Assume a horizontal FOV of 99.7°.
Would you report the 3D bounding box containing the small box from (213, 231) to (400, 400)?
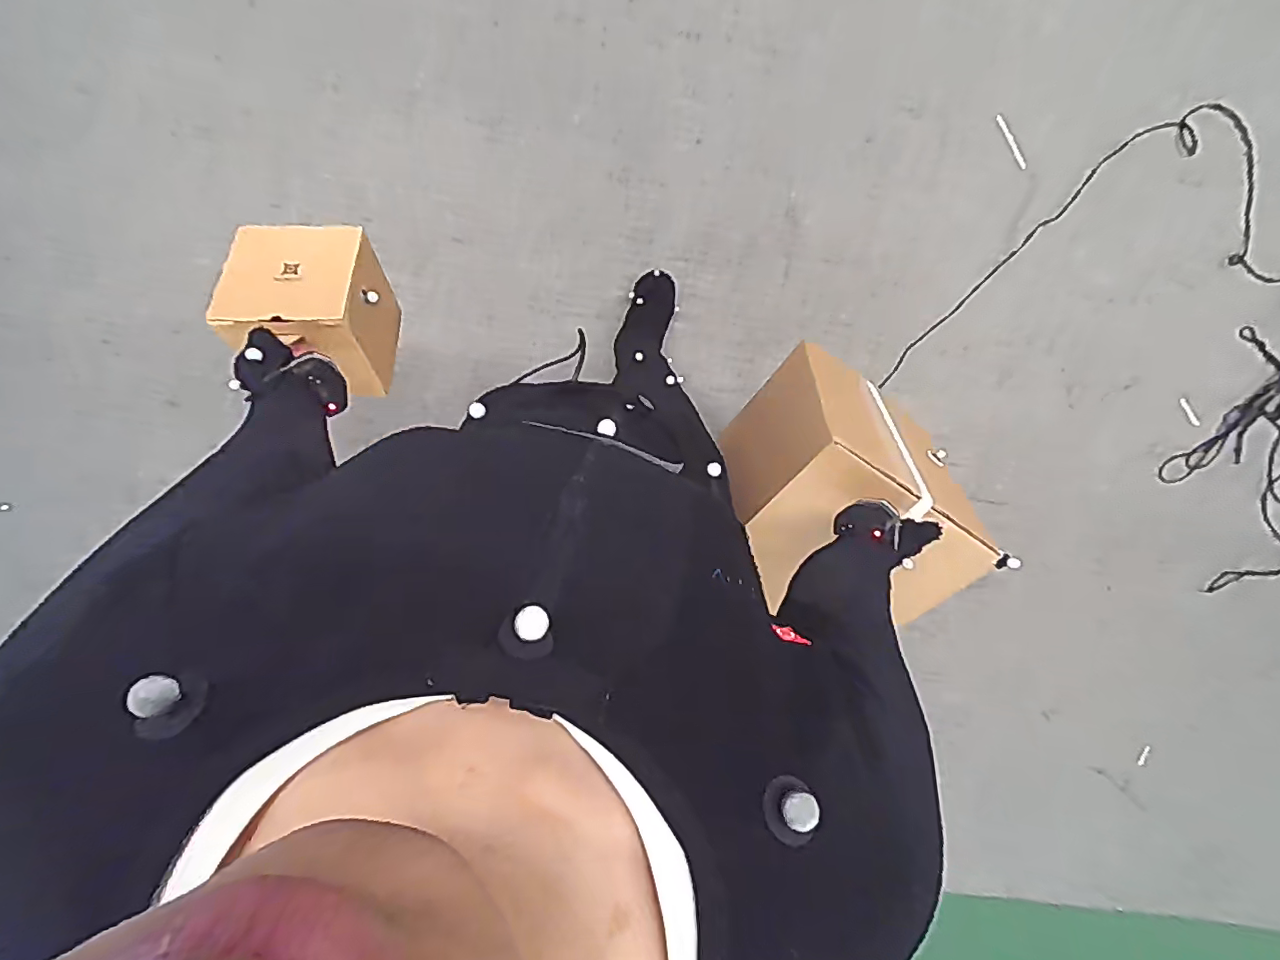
[{"bbox_3d":[-0.468,-0.237,0.795,0.168,0.176,0.179,-3,63,-5],"label":"small box"}]
